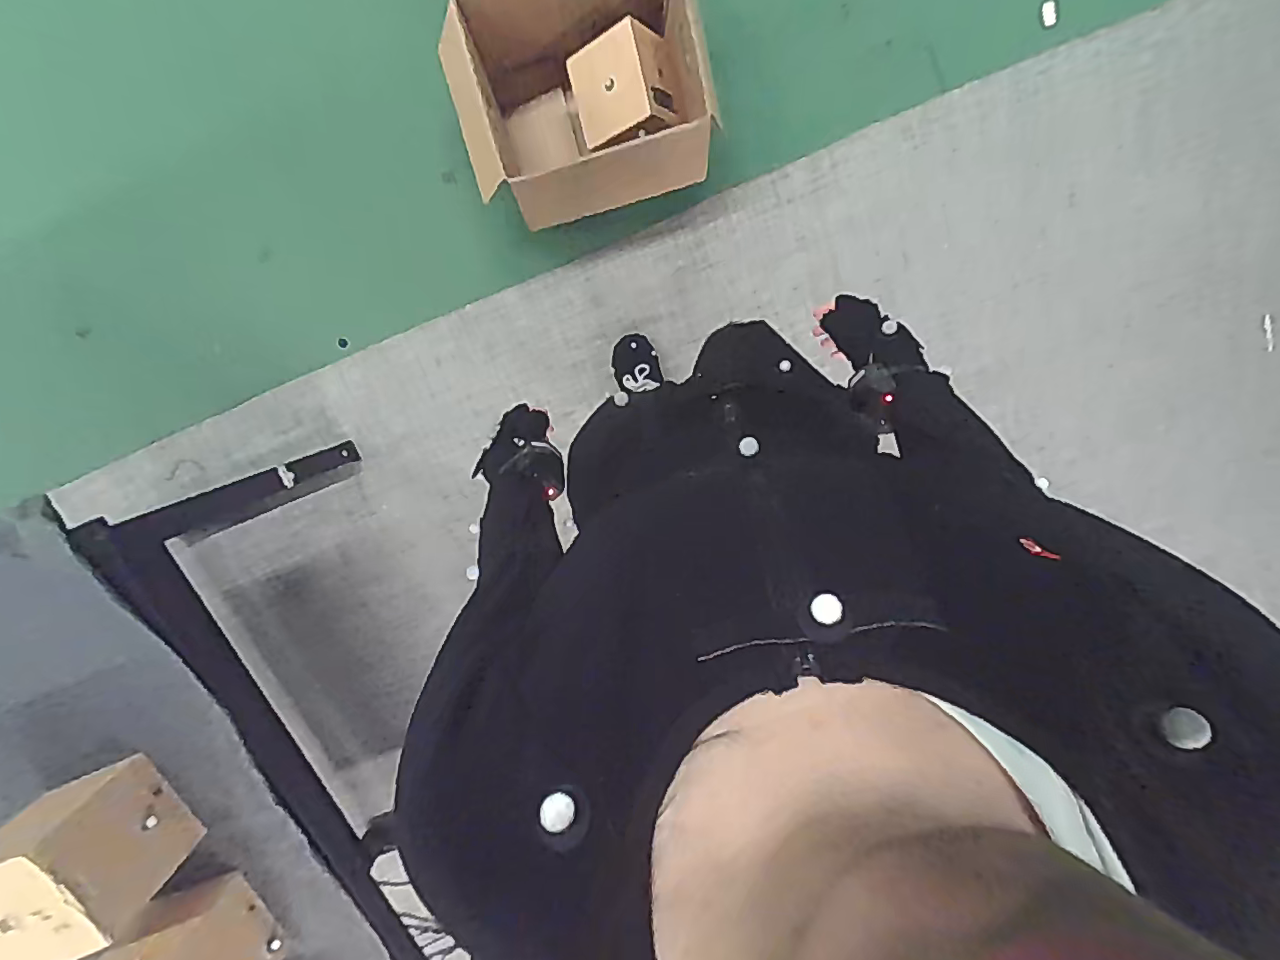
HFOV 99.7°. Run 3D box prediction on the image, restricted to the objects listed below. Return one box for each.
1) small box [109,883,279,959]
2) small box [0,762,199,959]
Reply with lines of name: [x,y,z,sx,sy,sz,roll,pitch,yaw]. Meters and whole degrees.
small box: [-0.679,0.747,0.797,0.179,0.176,0.168,-22,103,4]
small box: [-0.775,0.531,0.740,0.179,0.176,0.168,-23,104,3]
